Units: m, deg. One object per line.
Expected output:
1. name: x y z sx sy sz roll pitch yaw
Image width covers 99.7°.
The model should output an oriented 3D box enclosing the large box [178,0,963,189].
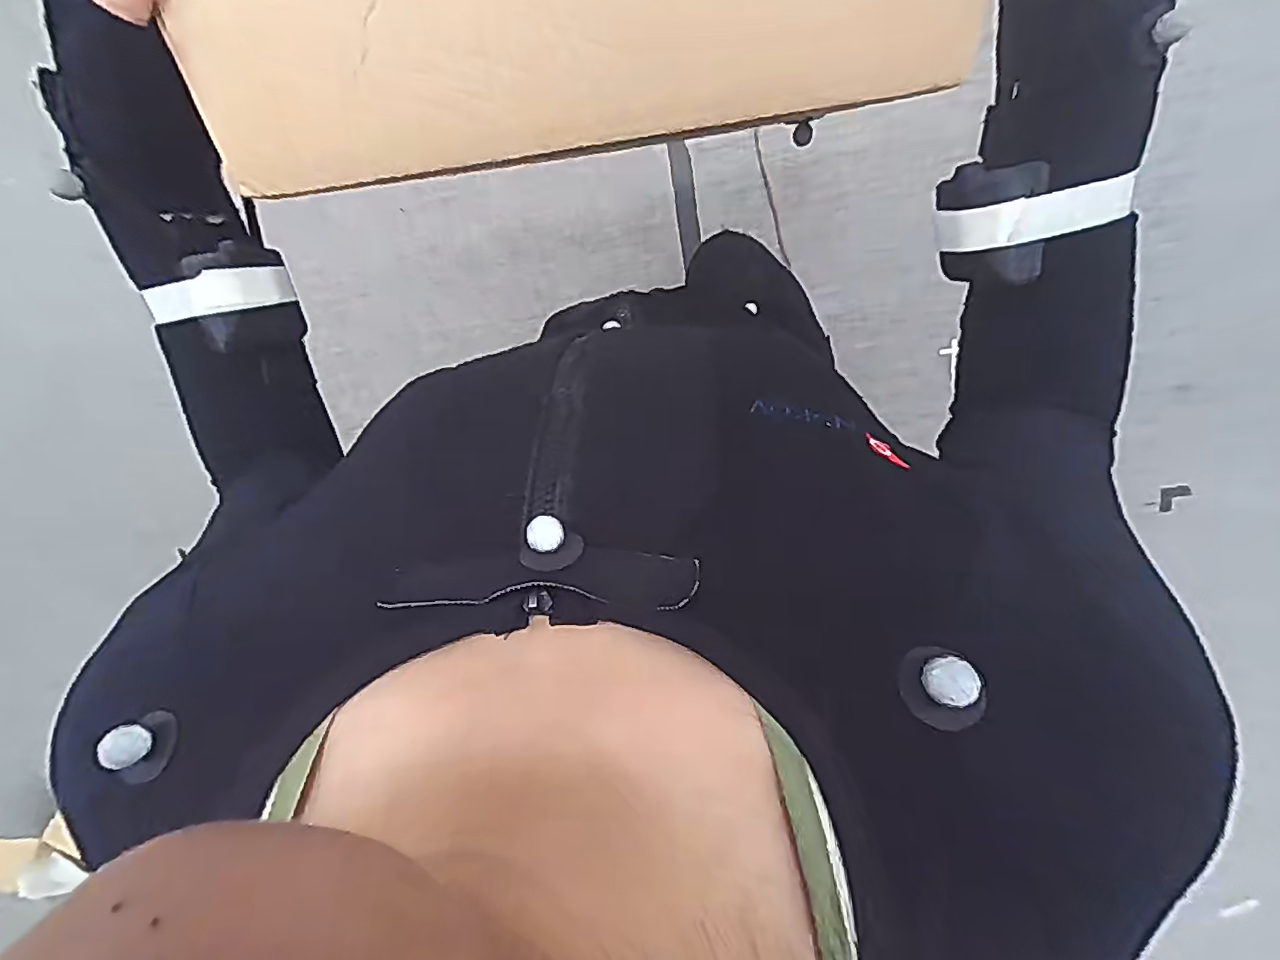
1. large box: -0.044 -0.403 0.349 0.408 0.320 0.320 -5 122 6
